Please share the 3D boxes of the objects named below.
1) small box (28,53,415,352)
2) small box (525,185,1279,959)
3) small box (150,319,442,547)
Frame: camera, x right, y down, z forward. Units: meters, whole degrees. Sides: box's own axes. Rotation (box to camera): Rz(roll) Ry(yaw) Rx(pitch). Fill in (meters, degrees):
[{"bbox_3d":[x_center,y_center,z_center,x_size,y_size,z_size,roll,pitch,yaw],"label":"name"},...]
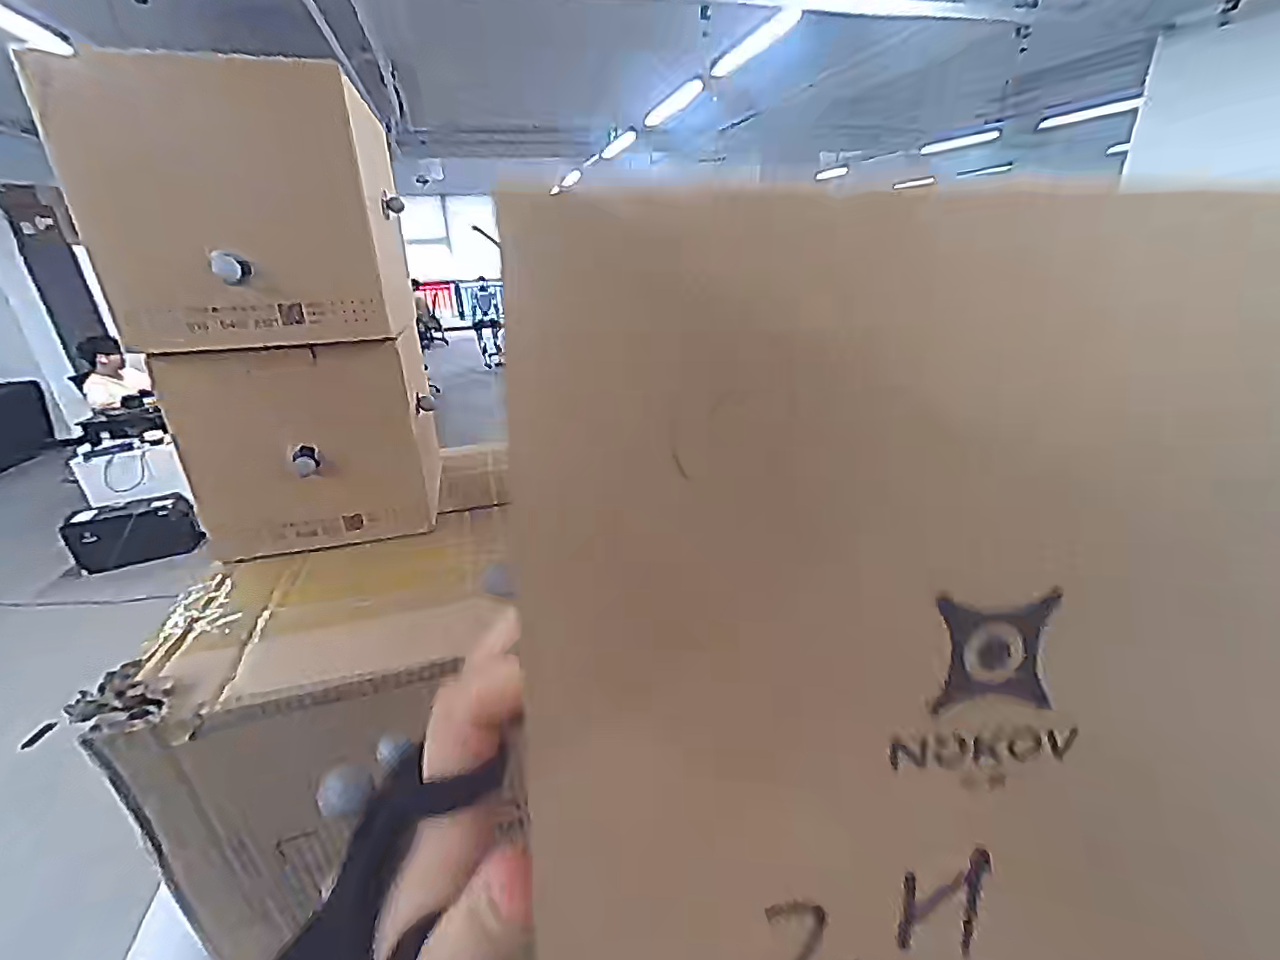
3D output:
[{"bbox_3d":[-0.281,-0.196,0.420,0.168,0.176,0.179,-8,23,-14],"label":"small box"},{"bbox_3d":[0.056,0.027,0.181,0.168,0.179,0.176,-1,9,-3],"label":"small box"},{"bbox_3d":[-0.283,-0.049,0.498,0.168,0.176,0.179,-8,24,-15],"label":"small box"}]
